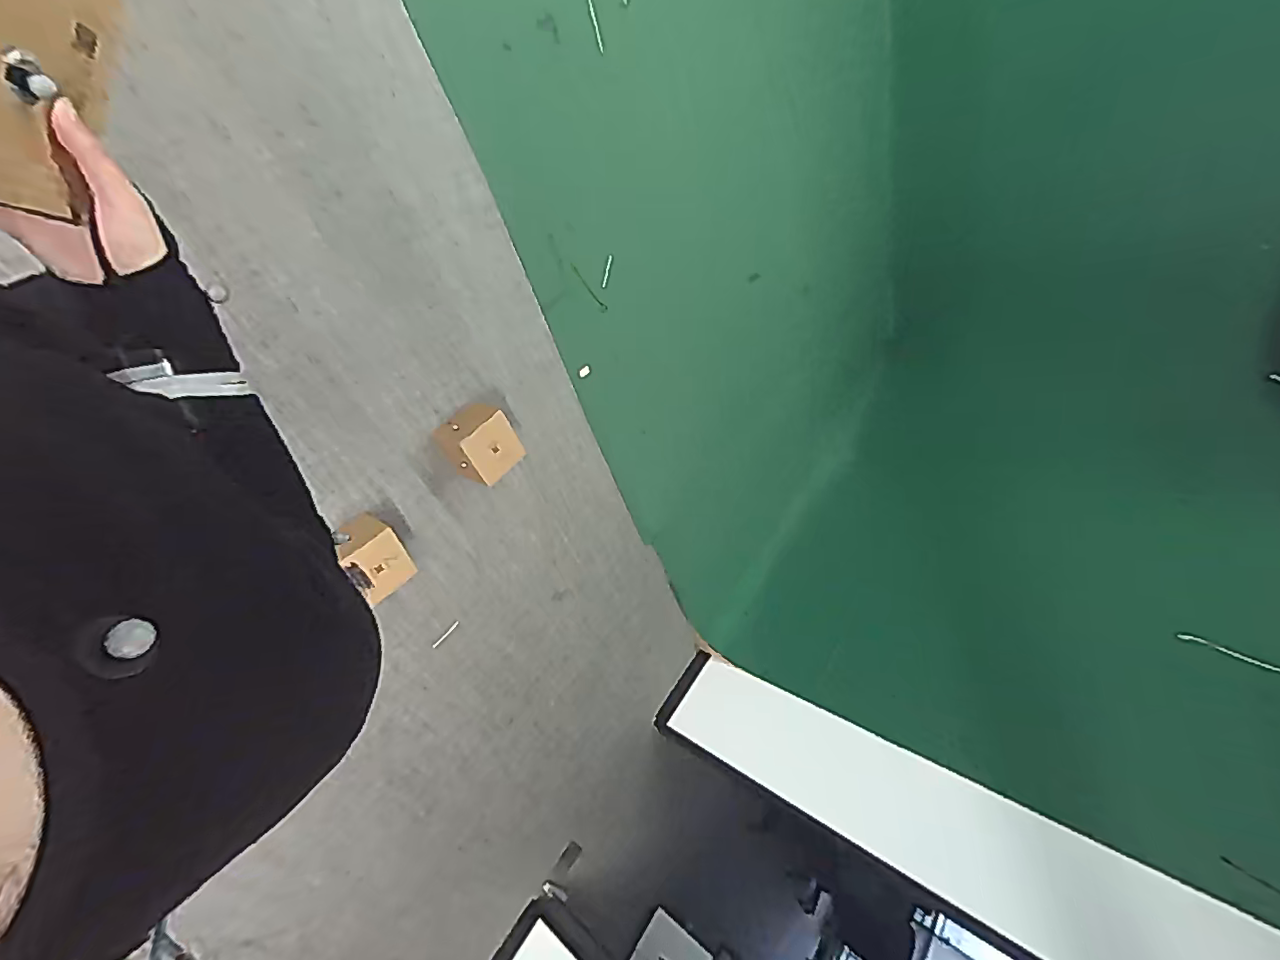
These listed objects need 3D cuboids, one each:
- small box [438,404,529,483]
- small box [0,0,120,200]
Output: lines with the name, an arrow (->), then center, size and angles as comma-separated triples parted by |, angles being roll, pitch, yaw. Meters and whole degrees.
small box -> -0.480, -0.119, 1.648 | 0.168, 0.176, 0.179 | -48, 134, -27
small box -> -0.402, -0.252, 0.240 | 0.179, 0.176, 0.168 | 18, 102, -15
